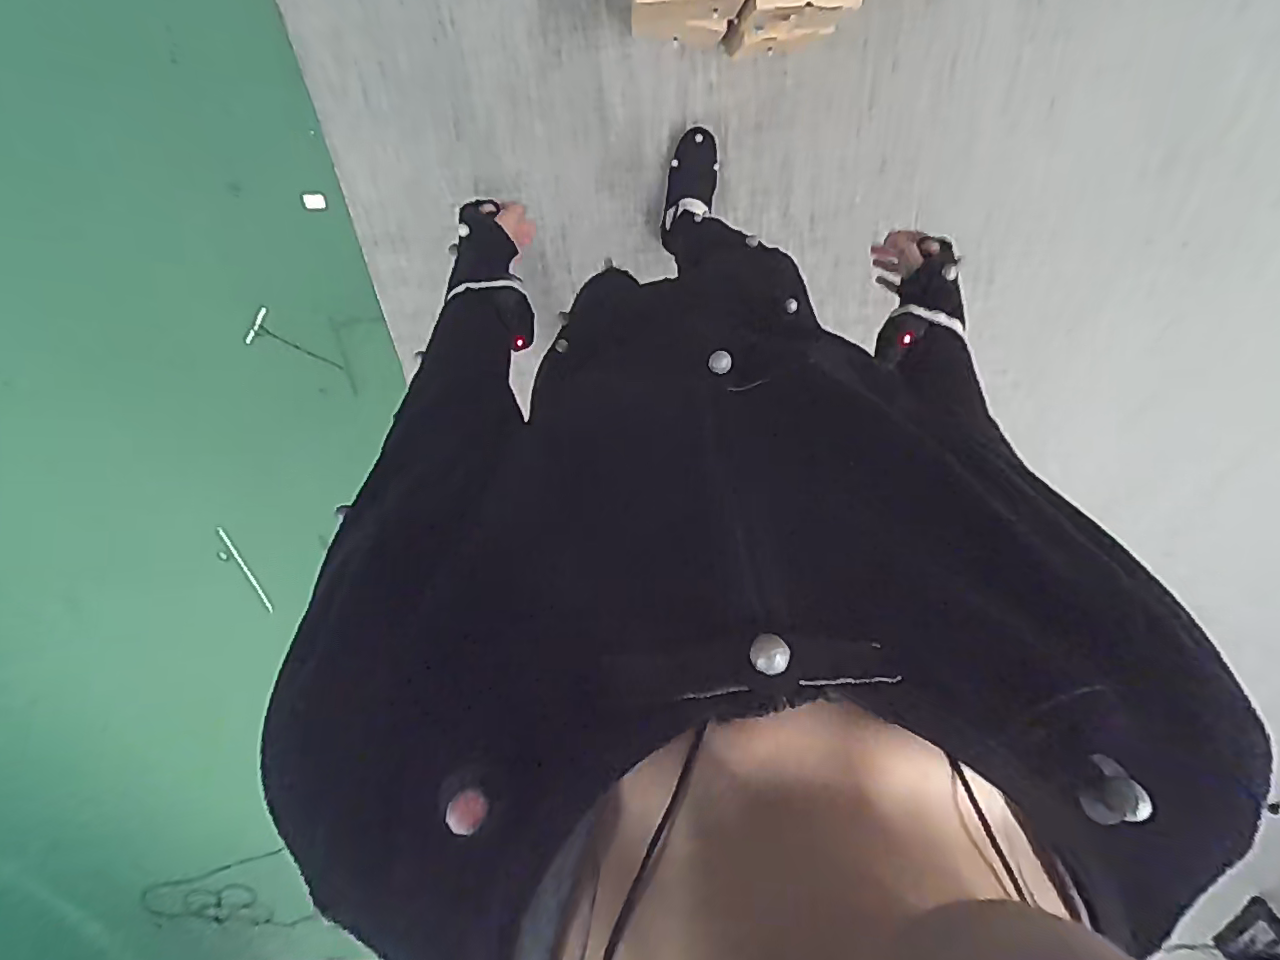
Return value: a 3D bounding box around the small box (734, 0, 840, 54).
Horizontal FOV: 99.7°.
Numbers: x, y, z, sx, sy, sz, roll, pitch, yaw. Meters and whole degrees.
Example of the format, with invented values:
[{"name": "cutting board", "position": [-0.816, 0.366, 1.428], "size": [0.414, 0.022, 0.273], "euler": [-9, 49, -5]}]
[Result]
[{"name": "small box", "position": [0.265, -0.916, 0.996], "size": [0.168, 0.176, 0.179], "euler": [-5, 122, 4]}]
